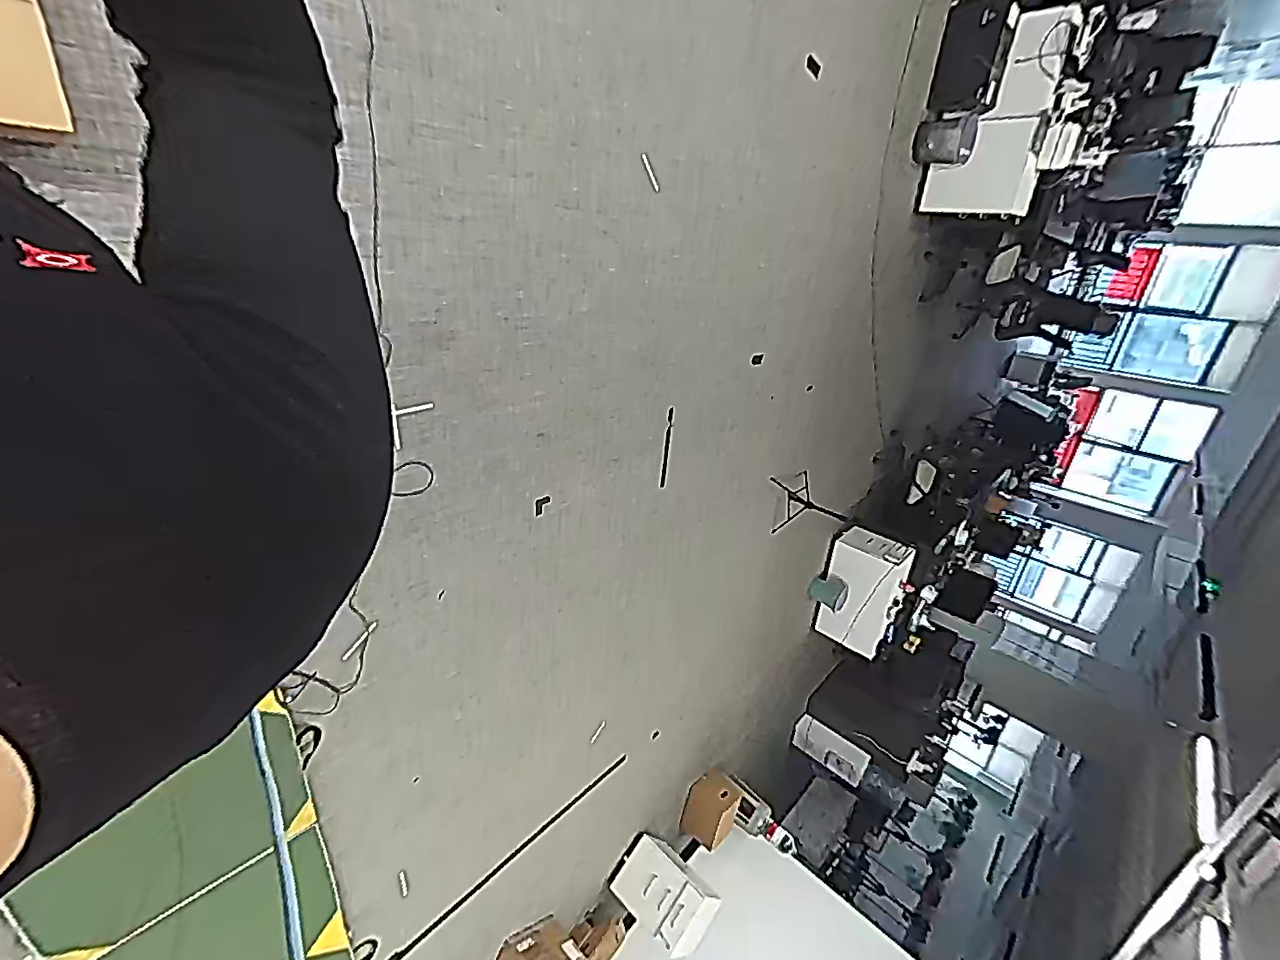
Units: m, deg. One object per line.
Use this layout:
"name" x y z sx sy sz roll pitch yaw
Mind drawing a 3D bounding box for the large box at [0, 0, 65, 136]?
"large box" -1.047 -0.638 0.656 0.408 0.320 0.320 -21 125 -44
